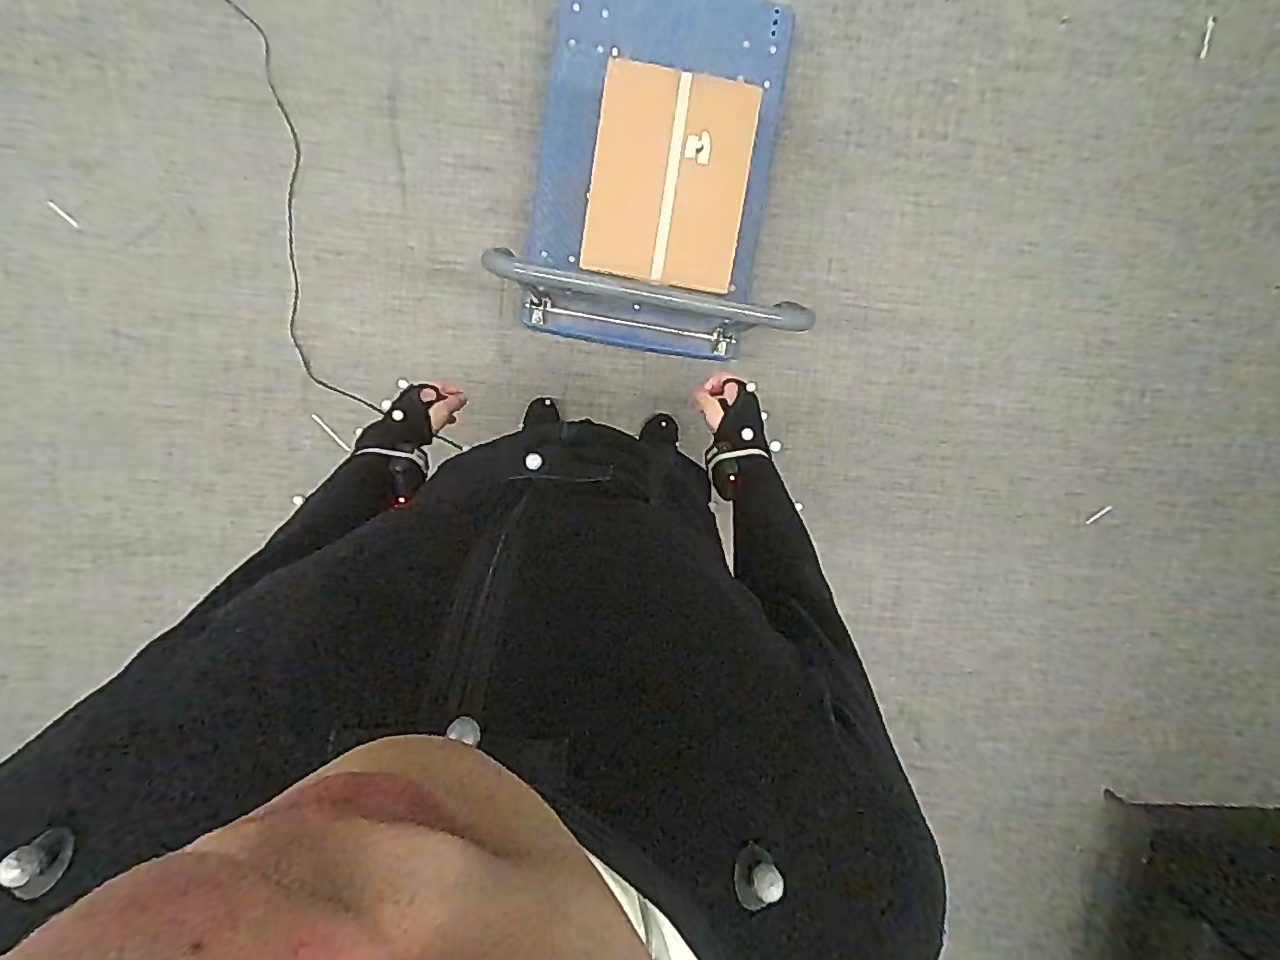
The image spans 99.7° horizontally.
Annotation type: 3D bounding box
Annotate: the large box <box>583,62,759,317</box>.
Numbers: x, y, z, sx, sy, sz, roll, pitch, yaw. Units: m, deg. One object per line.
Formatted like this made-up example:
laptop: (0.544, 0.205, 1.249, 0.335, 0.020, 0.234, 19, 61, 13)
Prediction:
large box: (0.053, -0.619, 1.234, 0.320, 0.320, 0.408, 8, 96, -5)
